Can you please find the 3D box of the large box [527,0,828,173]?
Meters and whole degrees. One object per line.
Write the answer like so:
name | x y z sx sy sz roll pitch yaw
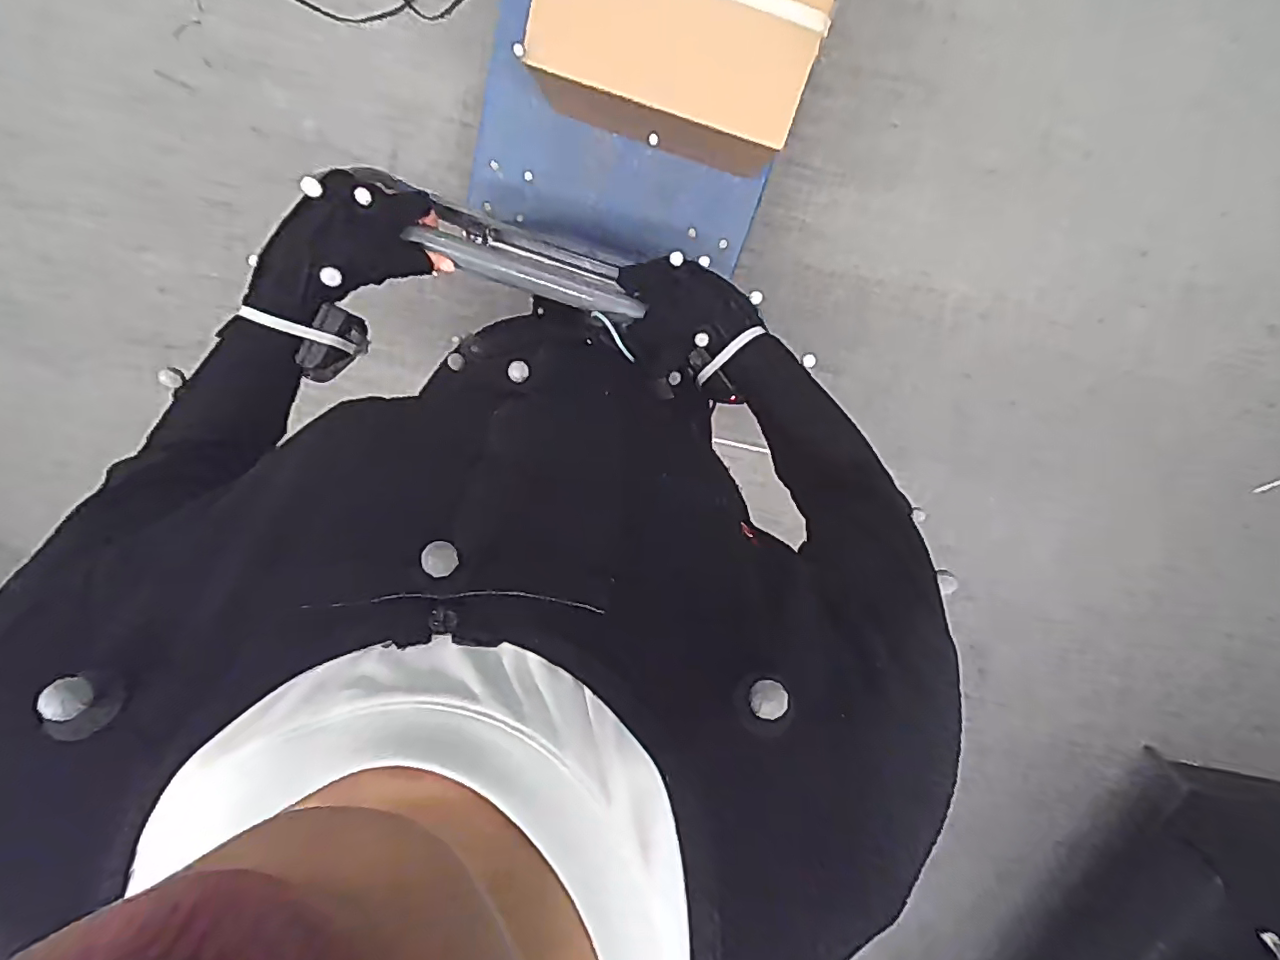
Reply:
large box | 0.071 -0.745 0.890 0.408 0.320 0.320 16 111 -4
